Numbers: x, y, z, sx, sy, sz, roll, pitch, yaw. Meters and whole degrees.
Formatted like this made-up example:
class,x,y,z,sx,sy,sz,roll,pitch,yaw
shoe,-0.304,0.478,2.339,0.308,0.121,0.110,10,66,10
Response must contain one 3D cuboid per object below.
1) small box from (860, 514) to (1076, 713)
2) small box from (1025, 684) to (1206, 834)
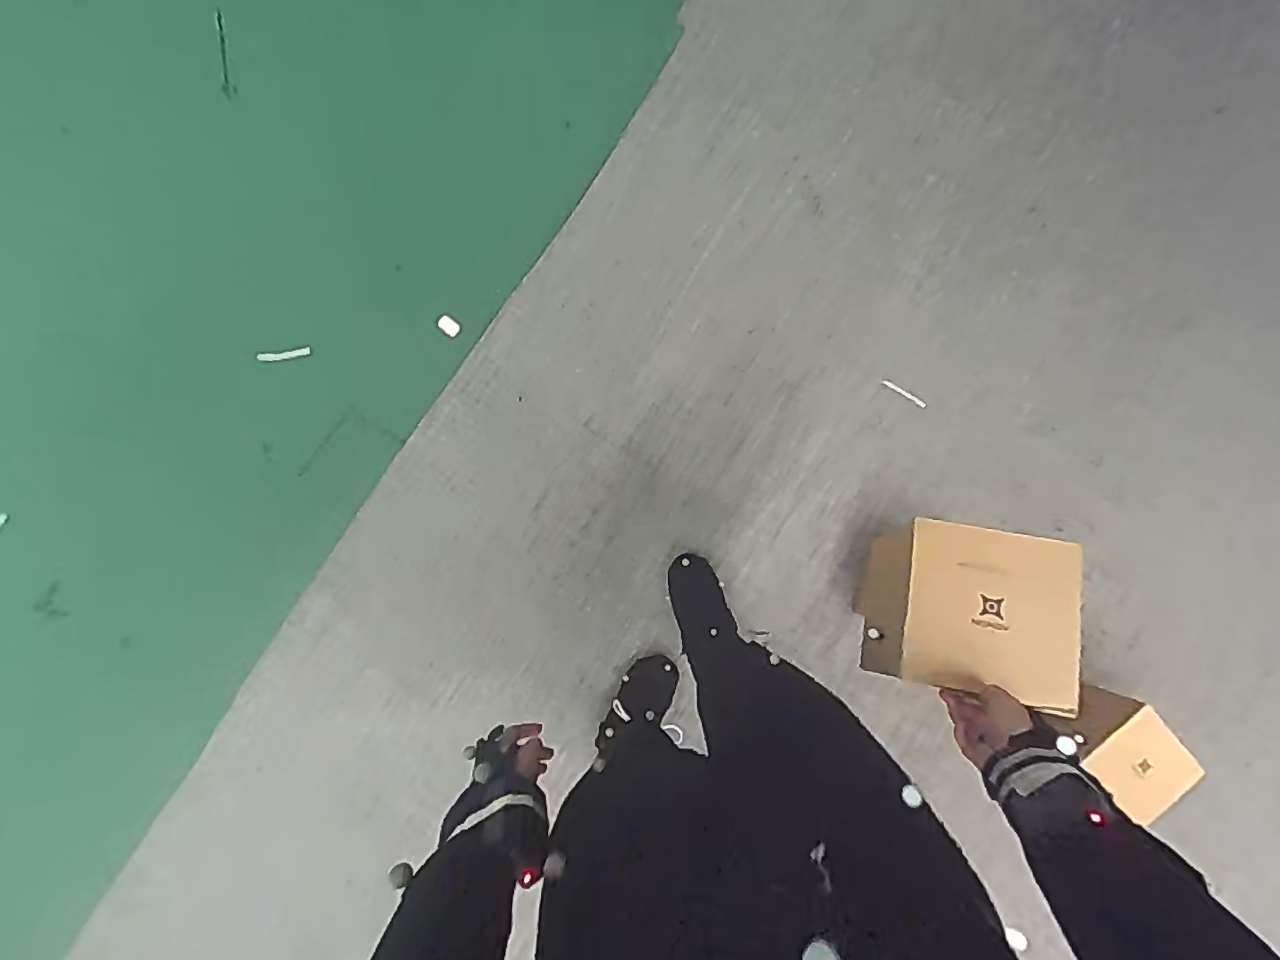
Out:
class,x,y,z,sx,sy,sz,roll,pitch,yaw
small box,0.365,0.153,0.629,0.168,0.176,0.179,8,75,9
small box,0.932,0.541,1.079,0.179,0.176,0.168,-39,87,-3
